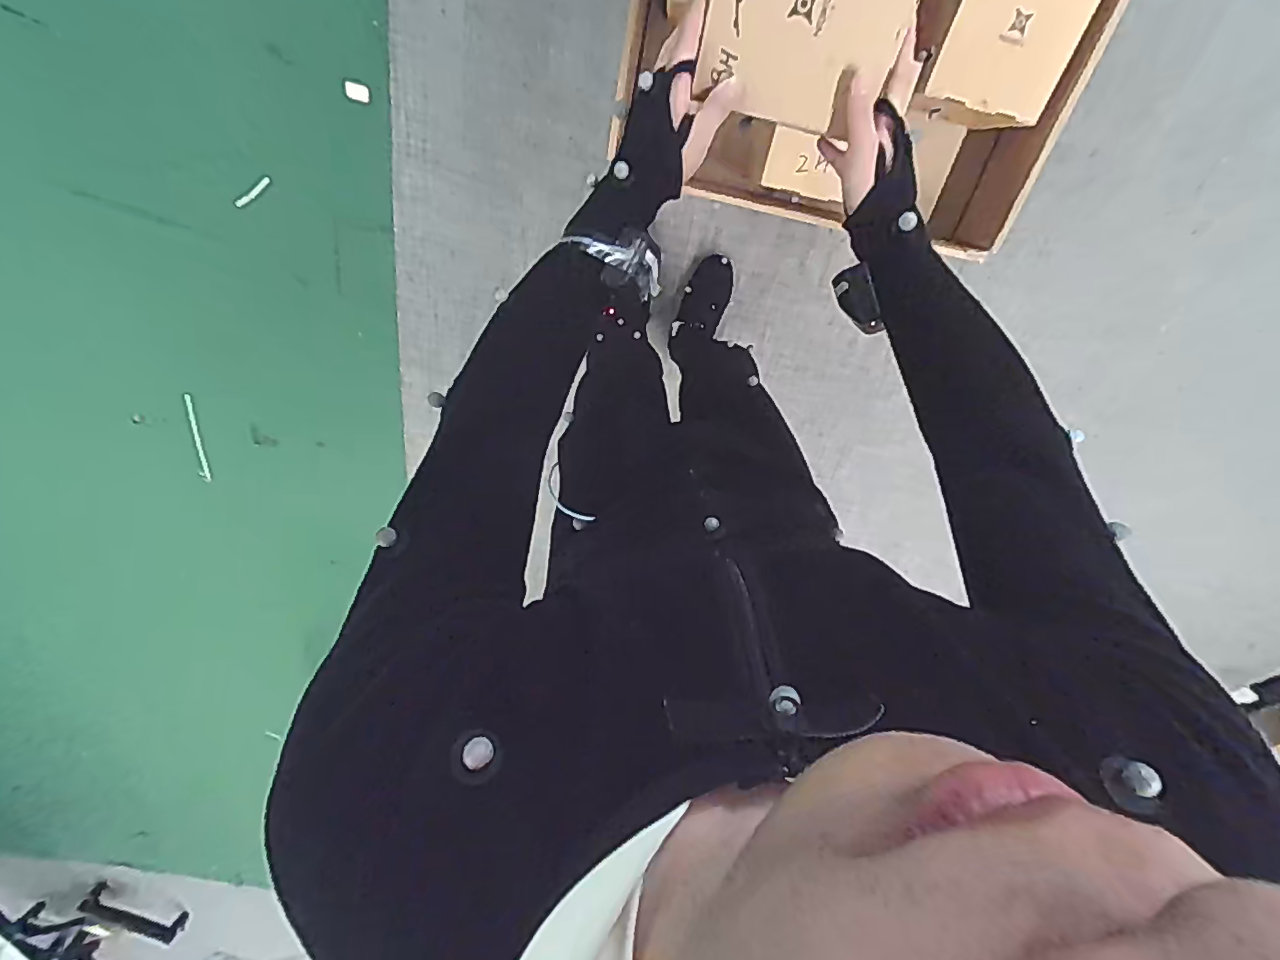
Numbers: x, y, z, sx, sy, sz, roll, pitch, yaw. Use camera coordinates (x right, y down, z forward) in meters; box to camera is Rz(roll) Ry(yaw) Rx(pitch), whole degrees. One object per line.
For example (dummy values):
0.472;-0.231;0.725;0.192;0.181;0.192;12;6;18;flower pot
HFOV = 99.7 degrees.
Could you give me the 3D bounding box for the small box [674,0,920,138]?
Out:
0.142;-0.448;0.513;0.179;0.176;0.168;8;126;-10;small box
